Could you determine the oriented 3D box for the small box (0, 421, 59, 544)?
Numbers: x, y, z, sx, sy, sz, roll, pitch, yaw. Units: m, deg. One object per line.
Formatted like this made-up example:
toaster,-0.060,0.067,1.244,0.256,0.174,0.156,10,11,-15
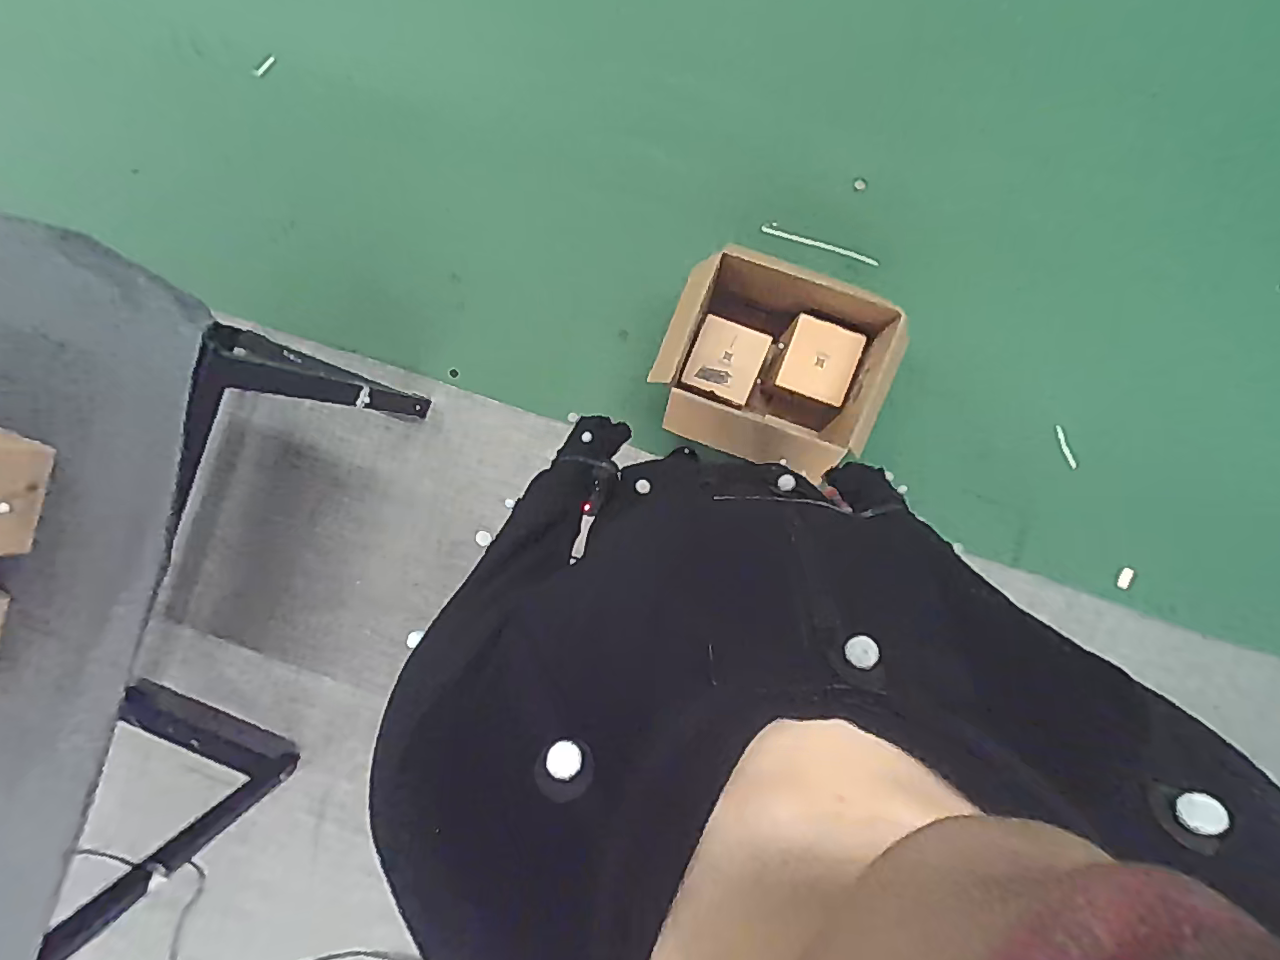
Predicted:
small box,-0.980,-0.003,0.739,0.179,0.176,0.168,20,94,3
